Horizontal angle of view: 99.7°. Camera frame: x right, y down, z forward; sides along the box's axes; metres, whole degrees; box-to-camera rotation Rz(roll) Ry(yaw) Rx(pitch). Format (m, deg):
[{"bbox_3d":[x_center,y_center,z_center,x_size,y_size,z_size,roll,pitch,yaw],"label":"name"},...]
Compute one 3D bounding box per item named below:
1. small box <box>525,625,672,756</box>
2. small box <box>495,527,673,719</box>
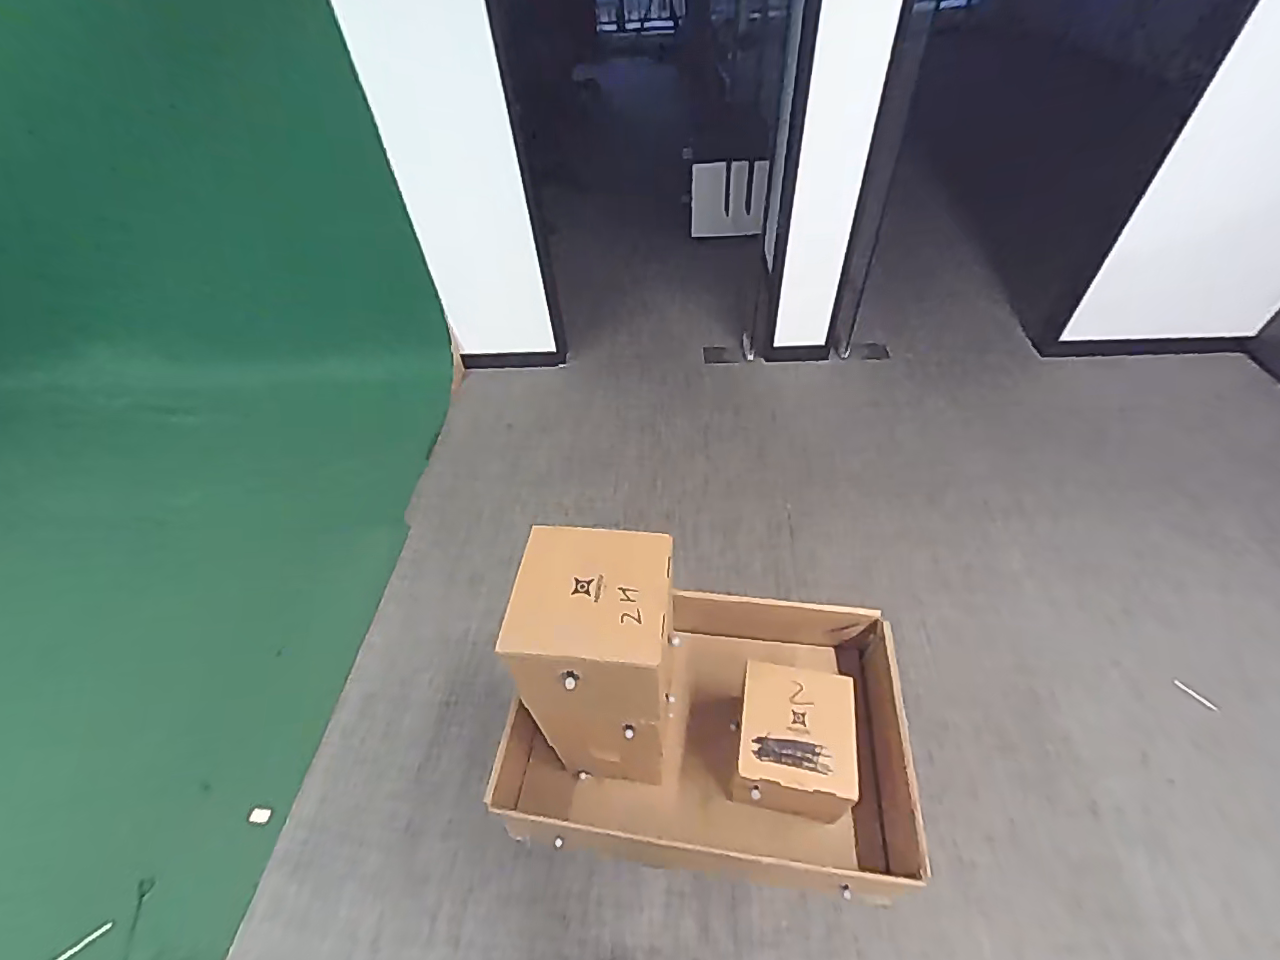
[{"bbox_3d":[-0.048,0.286,0.788,0.179,0.176,0.168,4,49,6],"label":"small box"},{"bbox_3d":[-0.054,0.178,0.664,0.179,0.176,0.168,4,49,6],"label":"small box"}]
